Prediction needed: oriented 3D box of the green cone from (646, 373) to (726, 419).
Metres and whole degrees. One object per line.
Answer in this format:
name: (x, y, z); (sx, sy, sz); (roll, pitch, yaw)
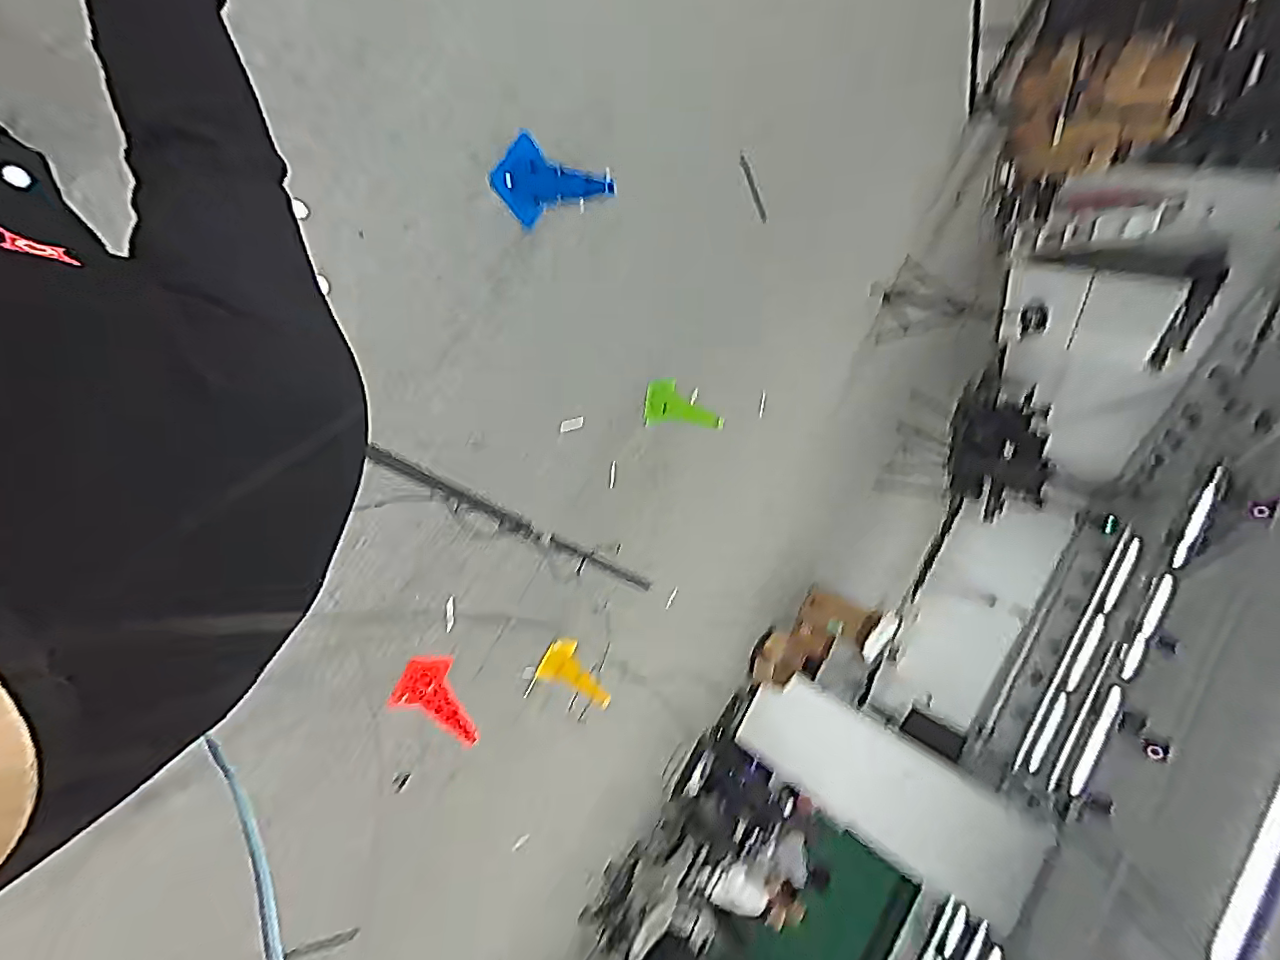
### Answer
green cone: (0.225, -0.333, 2.413); (0.200, 0.368, 0.202); (-21, 126, -46)

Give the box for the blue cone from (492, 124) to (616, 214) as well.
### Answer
blue cone: (-0.221, -0.865, 1.519); (0.192, 0.380, 0.193); (-59, 146, -9)

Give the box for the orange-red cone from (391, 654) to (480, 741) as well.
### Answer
orange-red cone: (-0.690, 0.809, 1.942); (0.198, 0.360, 0.199); (-61, 147, -3)
